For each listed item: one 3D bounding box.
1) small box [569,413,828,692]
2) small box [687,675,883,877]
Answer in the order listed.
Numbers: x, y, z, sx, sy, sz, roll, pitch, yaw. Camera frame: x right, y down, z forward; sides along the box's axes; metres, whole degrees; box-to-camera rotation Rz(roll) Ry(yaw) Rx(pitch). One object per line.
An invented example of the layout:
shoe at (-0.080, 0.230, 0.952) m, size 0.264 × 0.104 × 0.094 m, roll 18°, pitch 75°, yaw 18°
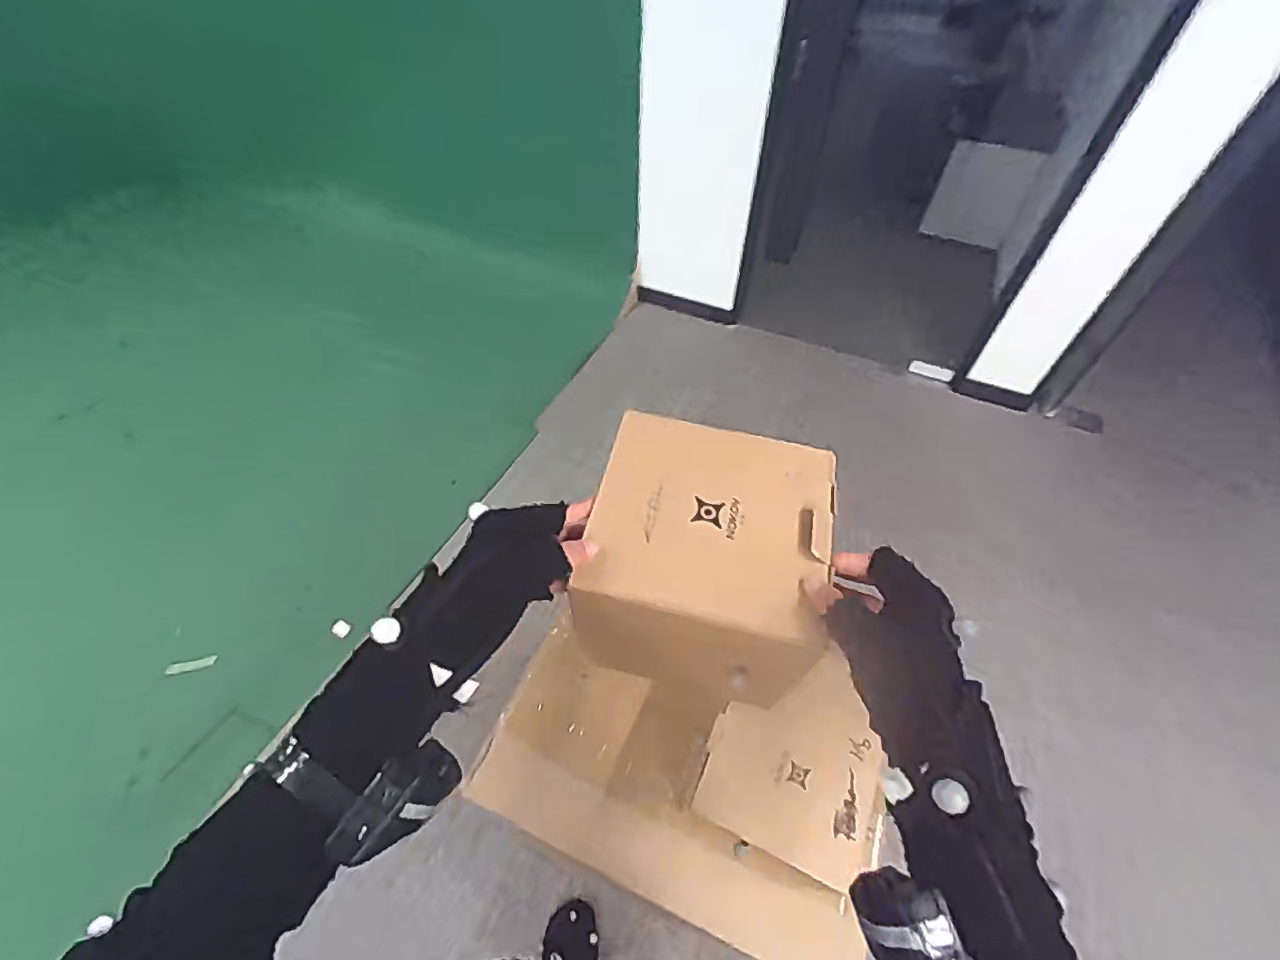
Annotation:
small box at (0.049, 0.070, 0.468) m, size 0.179 × 0.176 × 0.168 m, roll 10°, pitch 54°, yaw 5°
small box at (0.166, 0.352, 0.663) m, size 0.179 × 0.176 × 0.168 m, roll 21°, pitch 59°, yaw 15°
